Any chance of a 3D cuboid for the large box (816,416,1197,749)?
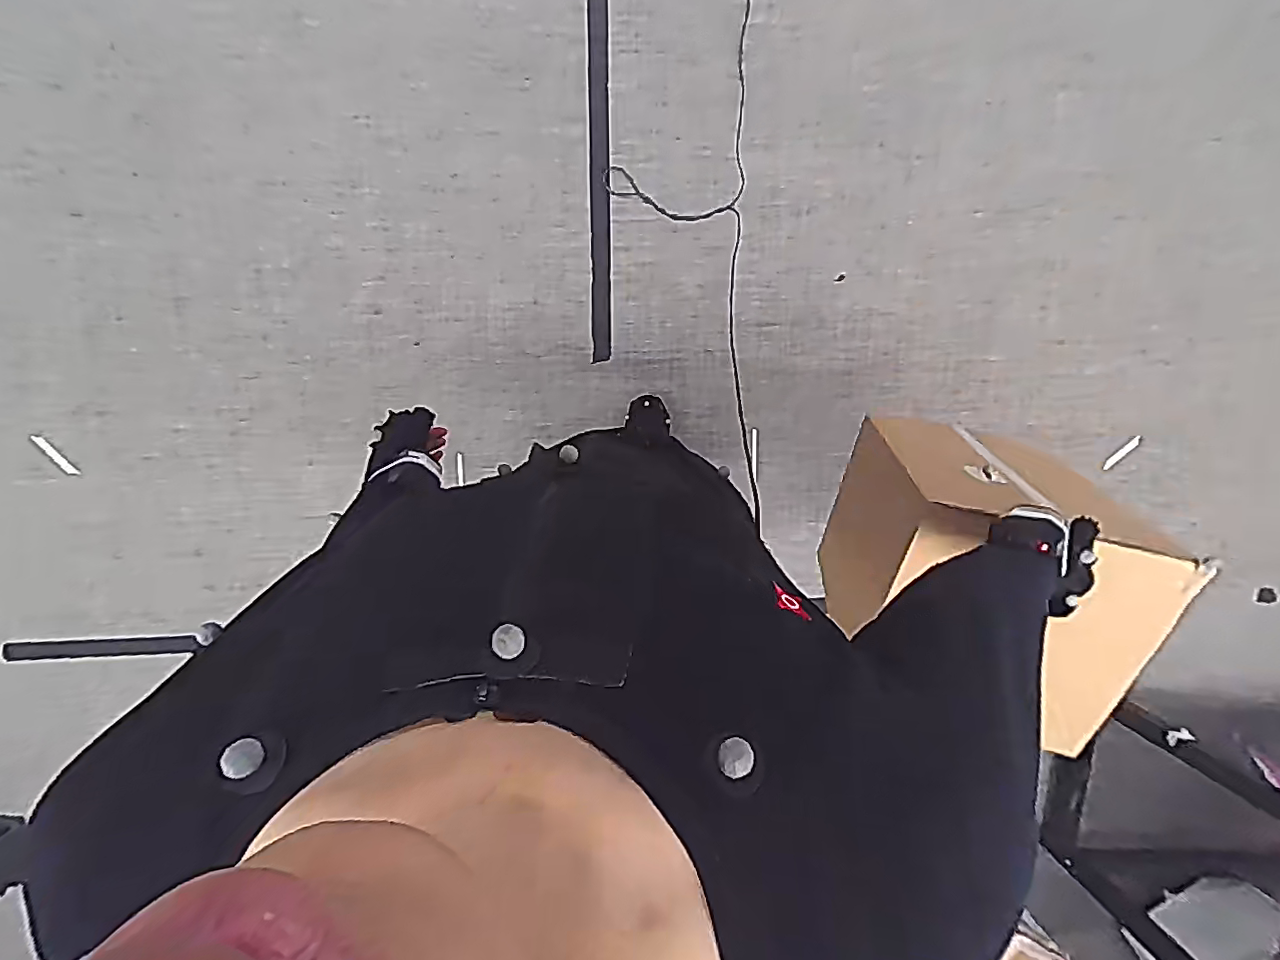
[{"bbox_3d":[0.504,0.130,0.877,0.320,0.408,0.320,14,116,6],"label":"large box"}]
